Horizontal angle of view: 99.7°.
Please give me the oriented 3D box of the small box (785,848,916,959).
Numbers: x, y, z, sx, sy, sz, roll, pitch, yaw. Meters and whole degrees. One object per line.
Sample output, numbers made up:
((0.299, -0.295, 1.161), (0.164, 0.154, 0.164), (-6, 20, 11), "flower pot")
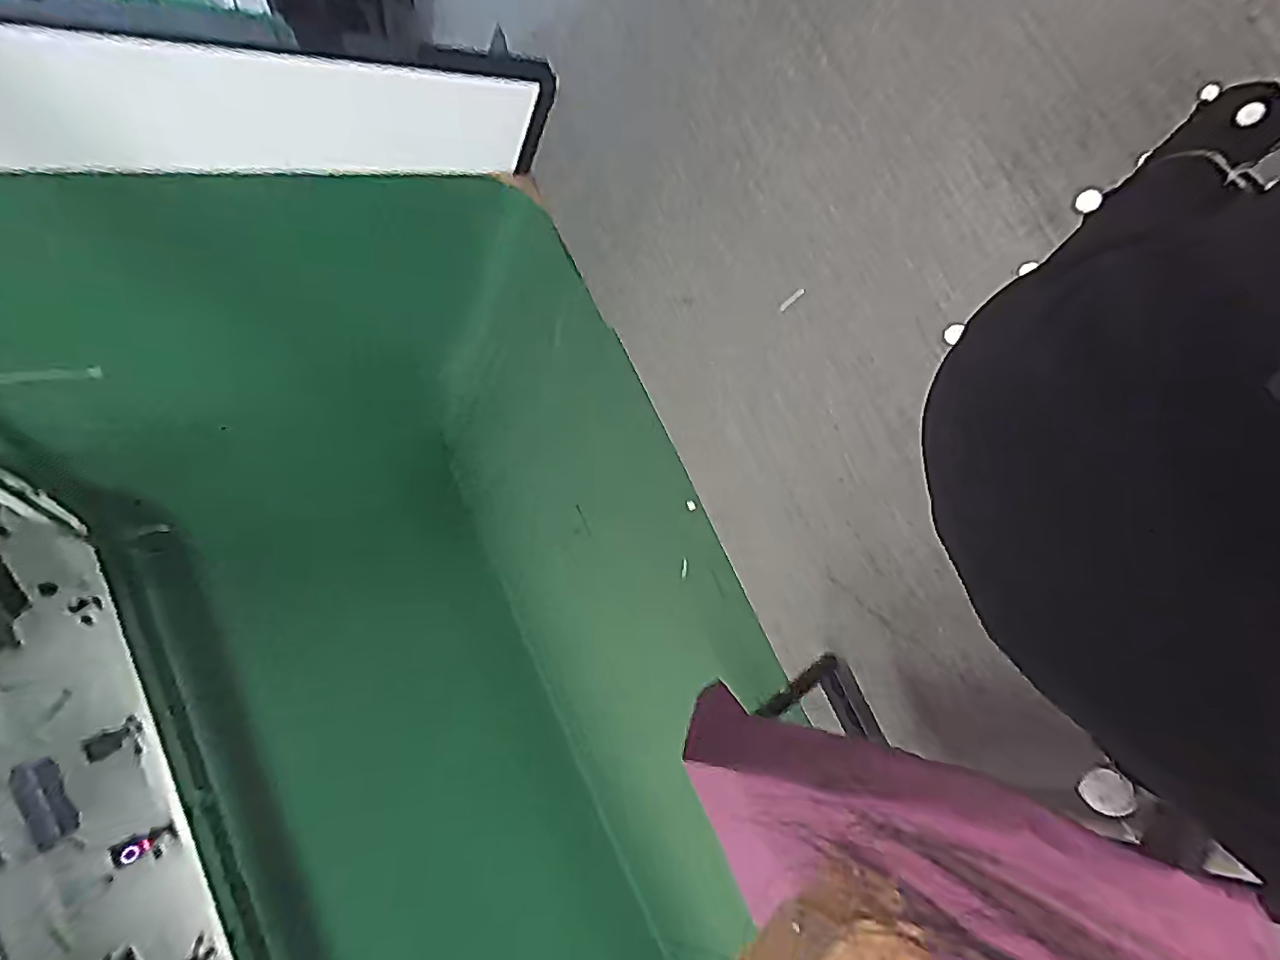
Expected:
((0.439, 0.927, 1.128), (0.168, 0.176, 0.179), (-26, 85, 55), "small box")

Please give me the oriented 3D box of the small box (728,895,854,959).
((0.308, 0.959, 1.033), (0.168, 0.176, 0.179), (-29, 83, 55), "small box")
